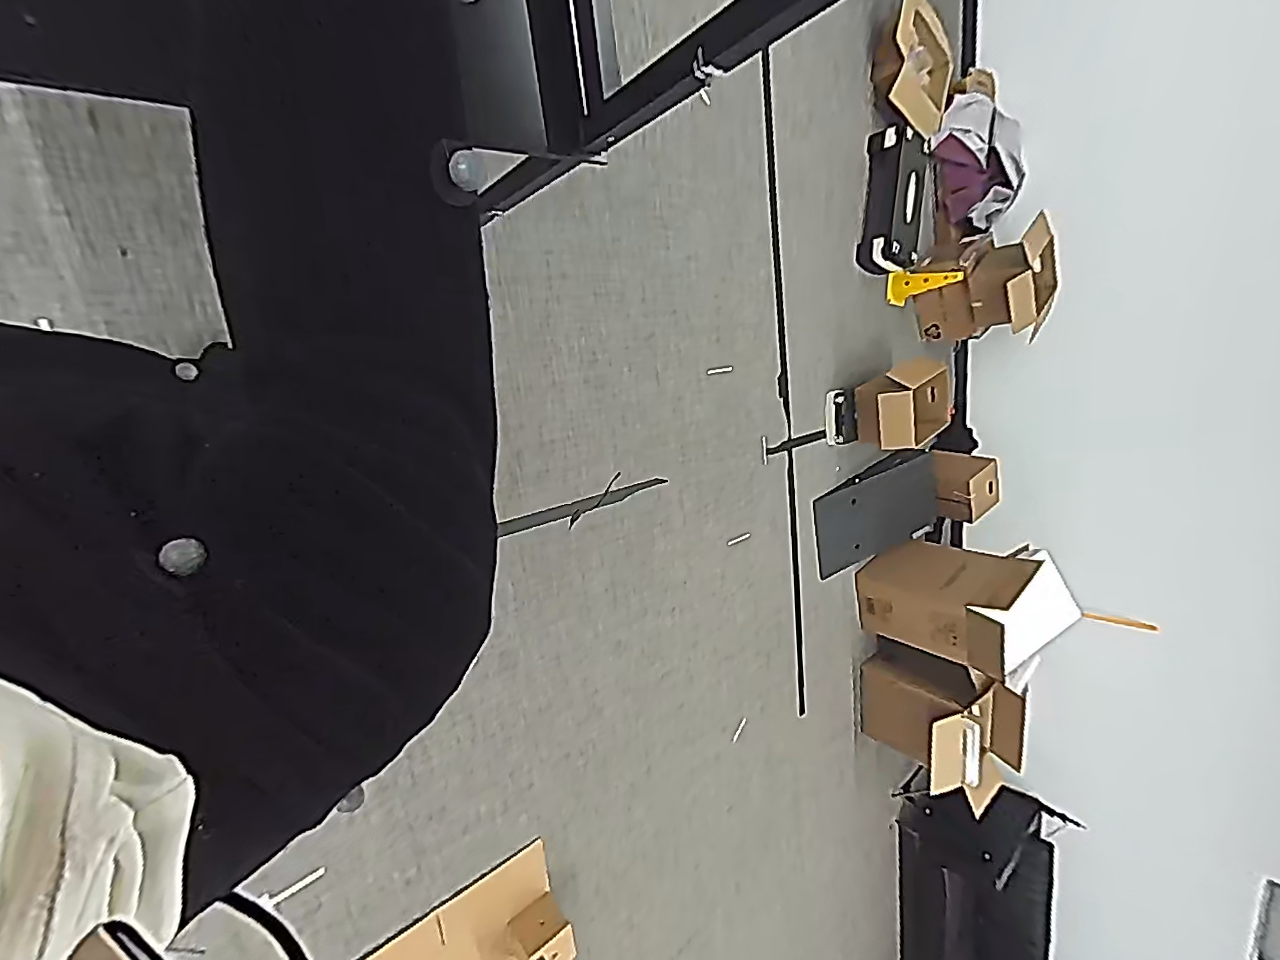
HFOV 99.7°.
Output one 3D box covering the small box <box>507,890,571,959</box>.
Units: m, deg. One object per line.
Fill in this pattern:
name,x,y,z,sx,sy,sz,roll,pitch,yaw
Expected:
small box,-0.381,1.692,2.006,0.179,0.176,0.168,-16,107,-38
